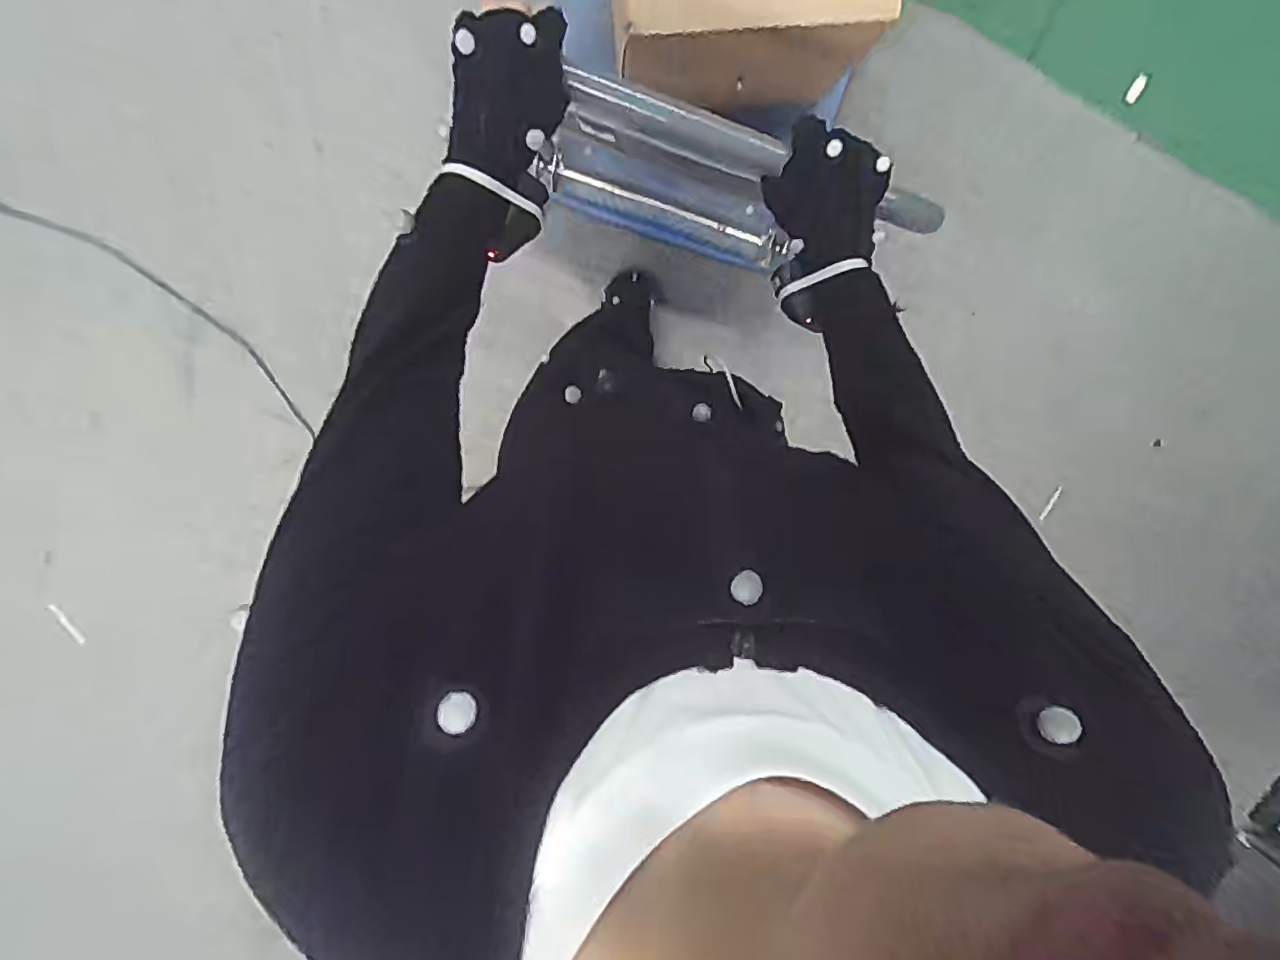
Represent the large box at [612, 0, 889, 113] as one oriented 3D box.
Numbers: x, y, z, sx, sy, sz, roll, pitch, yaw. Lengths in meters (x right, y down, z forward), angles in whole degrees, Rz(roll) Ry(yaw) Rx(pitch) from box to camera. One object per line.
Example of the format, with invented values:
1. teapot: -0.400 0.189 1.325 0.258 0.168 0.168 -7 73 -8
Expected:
1. large box: 0.156 -0.855 0.903 0.408 0.320 0.320 -5 106 -1
